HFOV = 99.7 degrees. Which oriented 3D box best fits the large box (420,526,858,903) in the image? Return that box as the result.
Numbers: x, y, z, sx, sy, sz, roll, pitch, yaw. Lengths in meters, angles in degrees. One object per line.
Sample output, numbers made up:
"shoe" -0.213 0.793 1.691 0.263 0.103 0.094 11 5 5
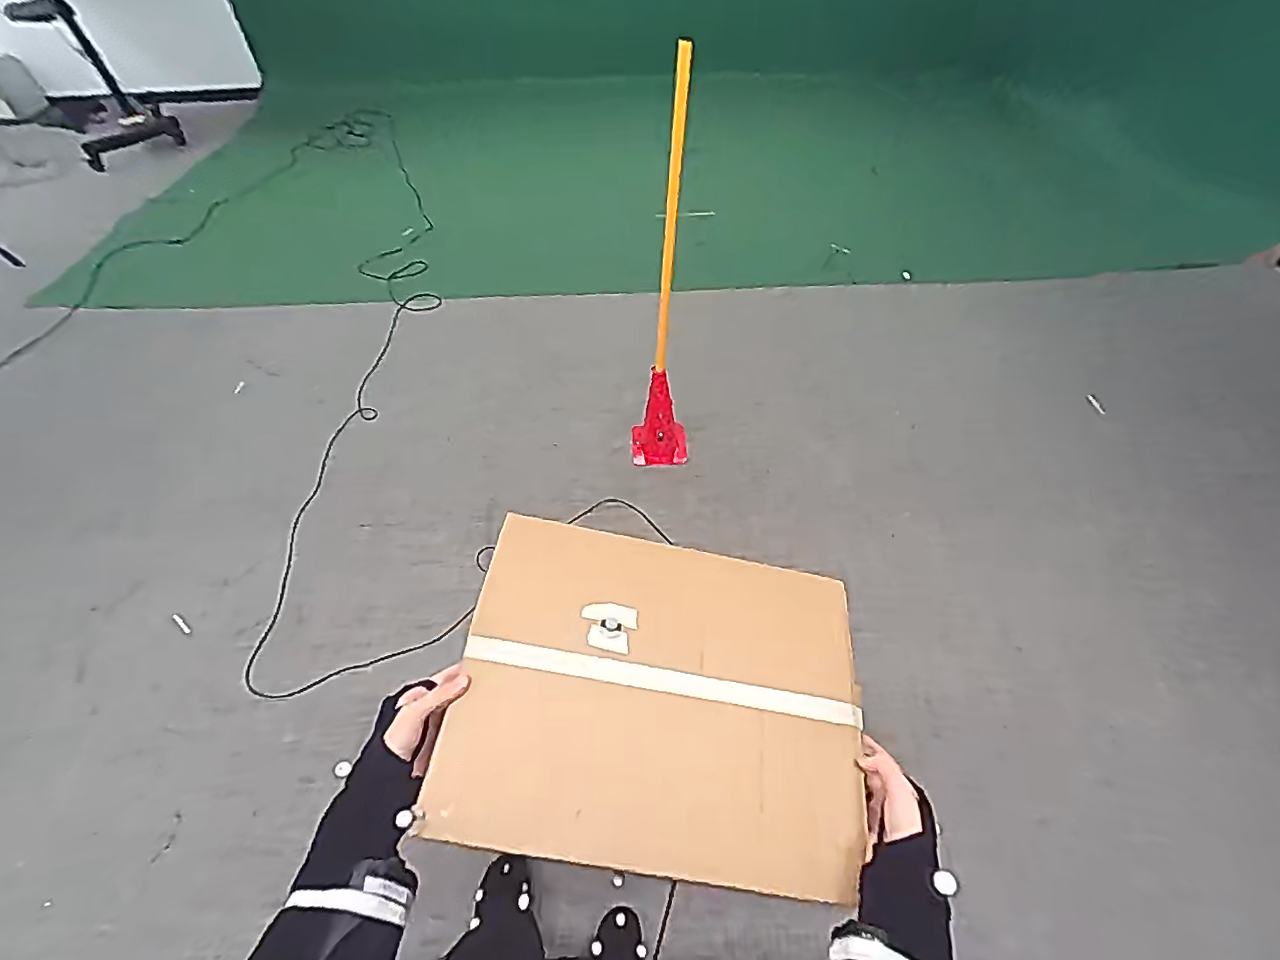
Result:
"large box" 0.003 0.295 0.680 0.408 0.320 0.320 12 55 -3
